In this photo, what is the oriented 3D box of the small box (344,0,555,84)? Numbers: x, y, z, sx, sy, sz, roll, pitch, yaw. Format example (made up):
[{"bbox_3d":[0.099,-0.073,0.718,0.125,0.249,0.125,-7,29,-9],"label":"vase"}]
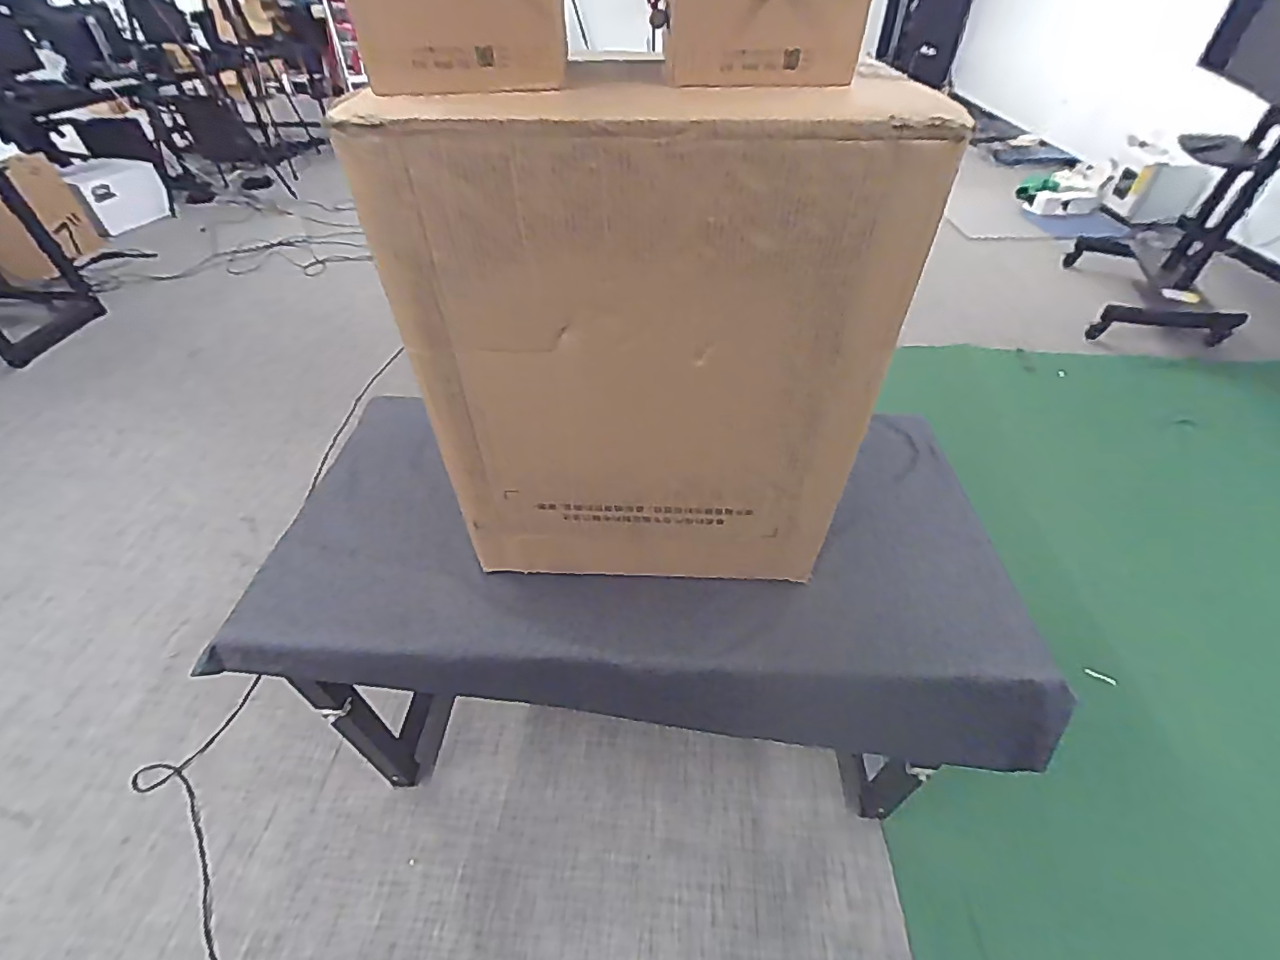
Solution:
[{"bbox_3d":[-0.167,-0.462,0.470,0.168,0.176,0.179,-6,48,-4],"label":"small box"}]

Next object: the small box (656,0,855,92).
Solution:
[{"bbox_3d":[0.099,-0.469,0.490,0.168,0.176,0.179,-2,48,-1],"label":"small box"}]
